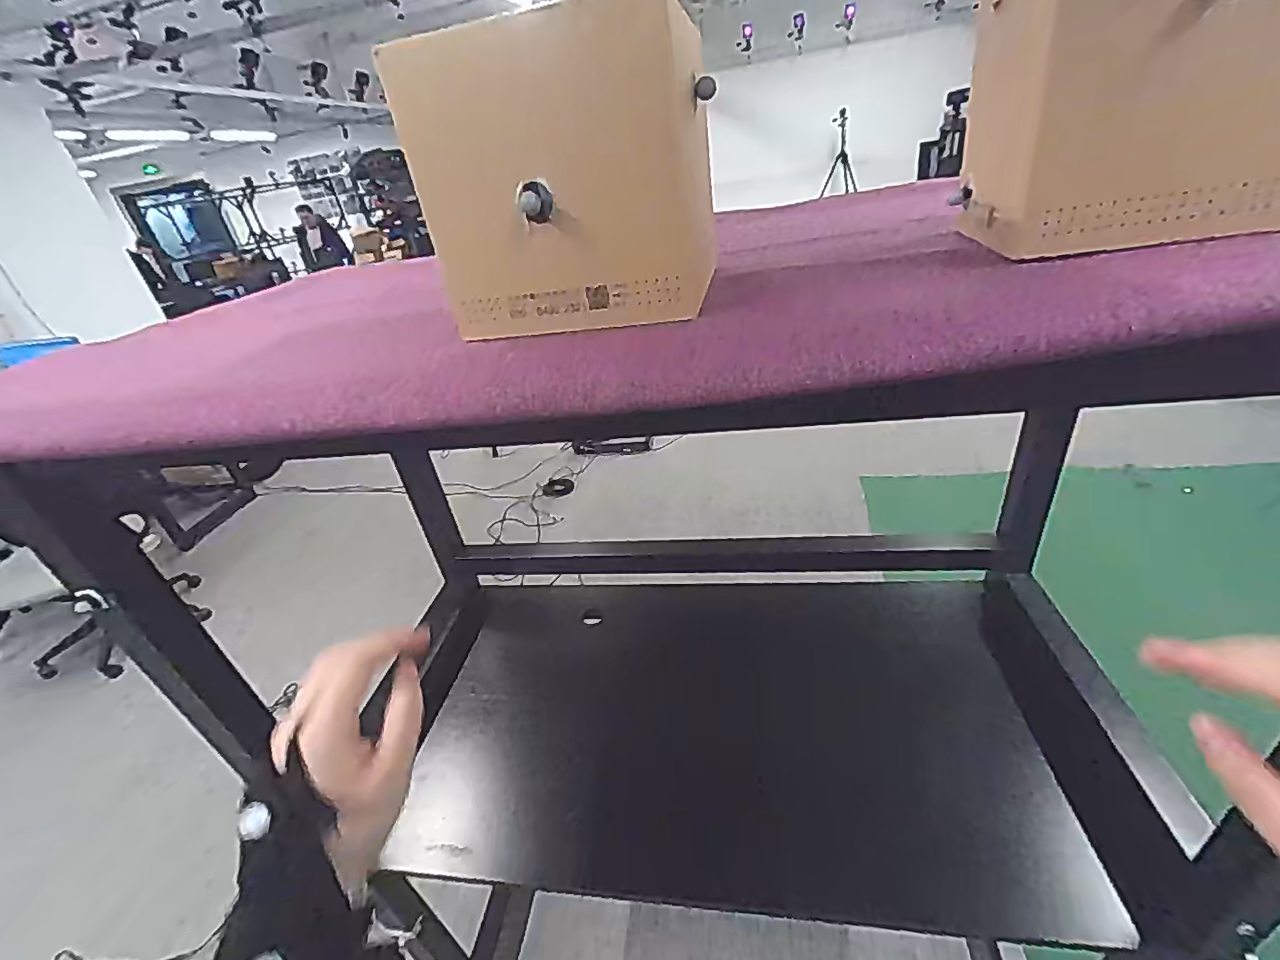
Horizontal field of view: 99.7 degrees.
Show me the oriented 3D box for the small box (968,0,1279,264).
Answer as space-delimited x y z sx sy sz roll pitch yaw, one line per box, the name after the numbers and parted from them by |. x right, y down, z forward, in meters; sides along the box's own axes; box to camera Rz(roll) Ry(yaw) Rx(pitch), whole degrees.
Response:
0.321 -0.240 0.335 0.179 0.176 0.168 0 30 17 | small box

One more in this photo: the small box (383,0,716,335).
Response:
-0.037 -0.208 0.388 0.168 0.176 0.179 0 32 13 | small box
